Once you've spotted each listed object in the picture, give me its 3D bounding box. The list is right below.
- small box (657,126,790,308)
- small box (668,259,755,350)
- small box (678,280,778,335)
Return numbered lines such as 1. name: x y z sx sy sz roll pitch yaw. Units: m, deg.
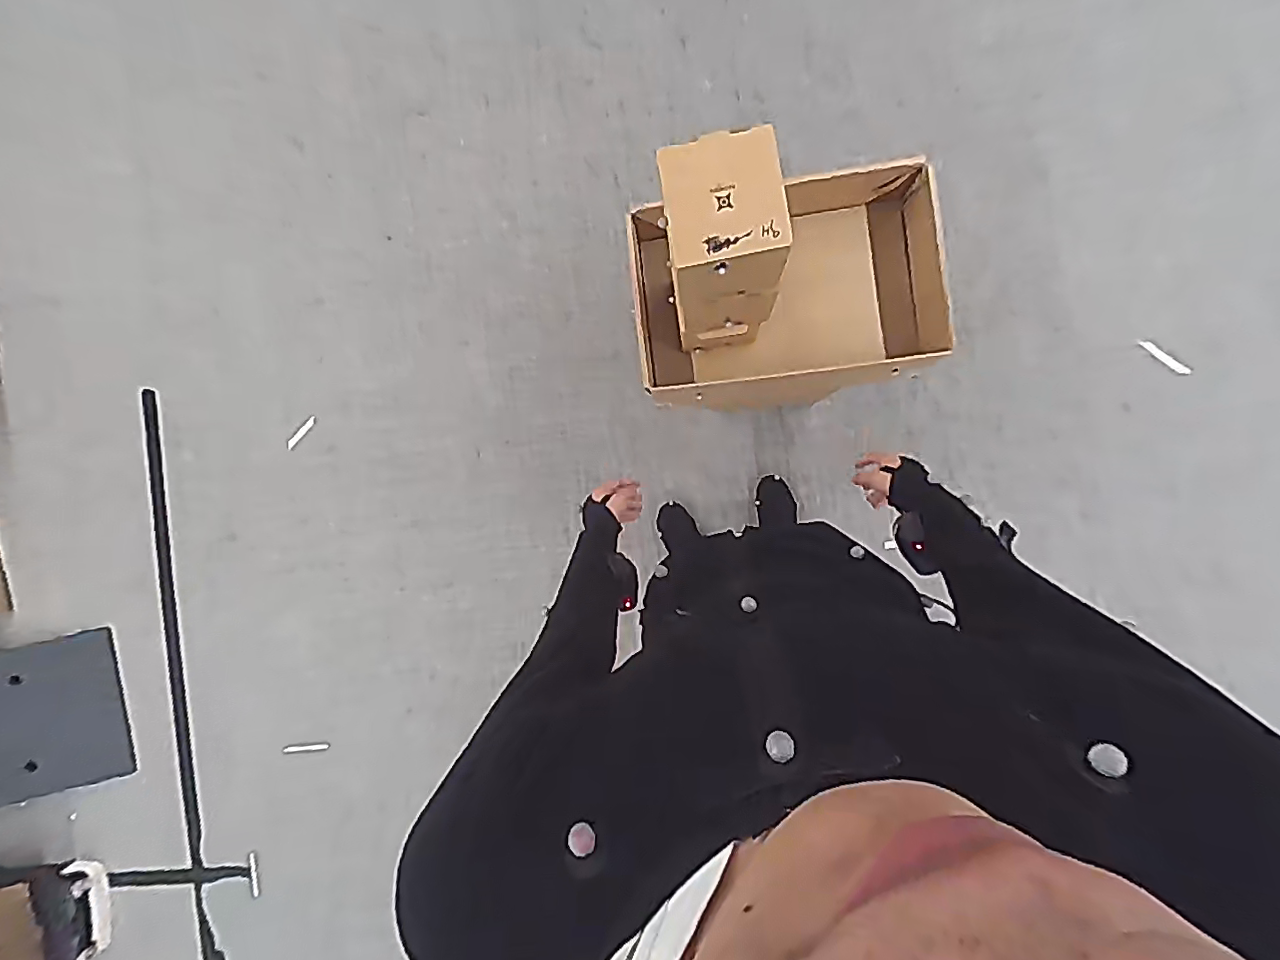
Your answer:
1. small box: 0.121 -0.388 0.825 0.168 0.176 0.179 -9 87 6
2. small box: 0.155 -0.386 1.152 0.168 0.176 0.179 -8 87 6
3. small box: 0.146 -0.385 0.988 0.168 0.176 0.179 -9 88 6
